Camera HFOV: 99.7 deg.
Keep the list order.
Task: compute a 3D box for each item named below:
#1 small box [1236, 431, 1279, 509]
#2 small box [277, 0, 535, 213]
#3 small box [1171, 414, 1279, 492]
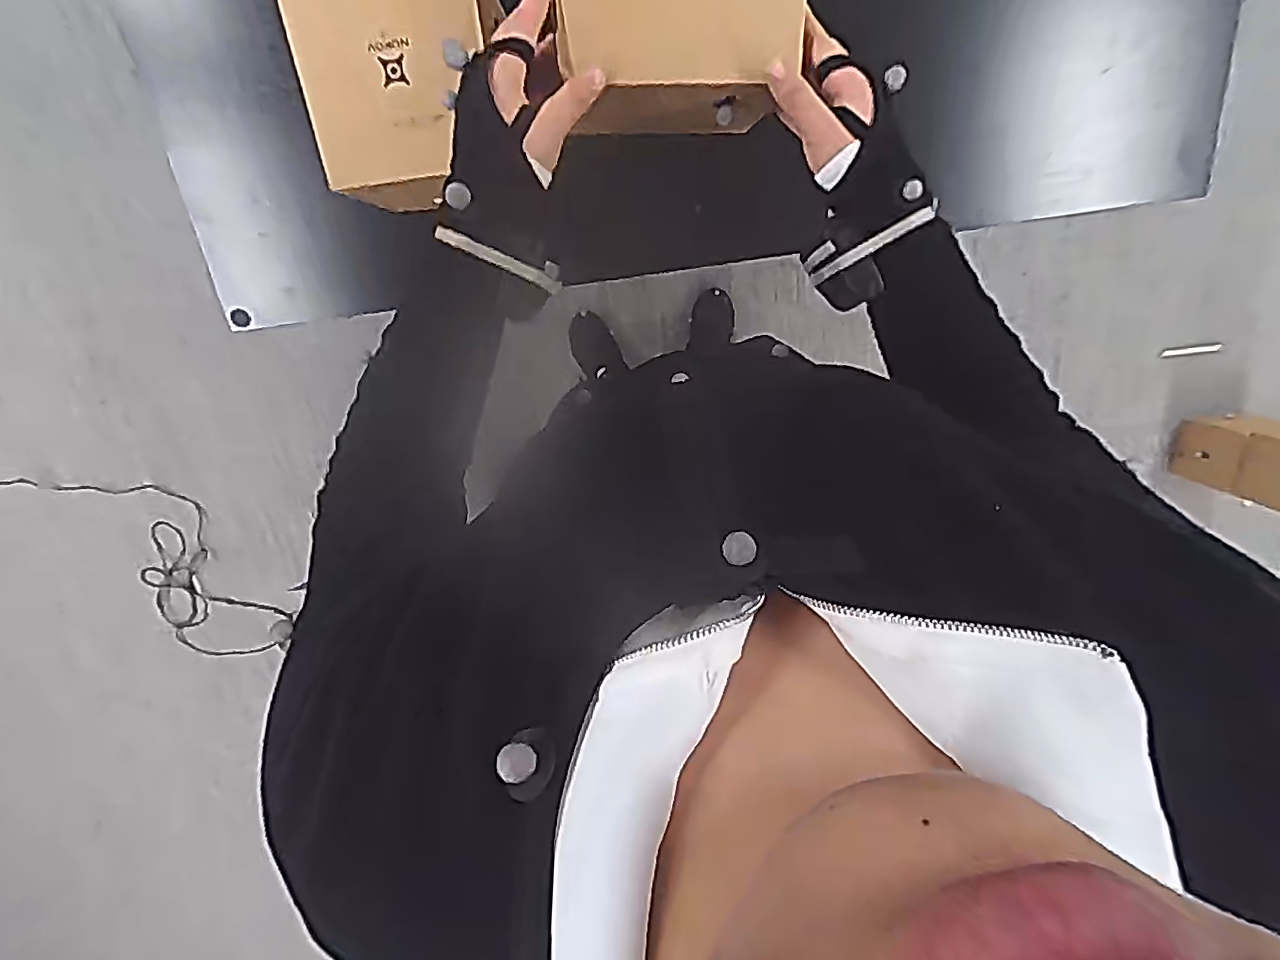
[{"bbox_3d":[1.602,-0.019,1.289,0.168,0.176,0.179,-5,110,1],"label":"small box"},{"bbox_3d":[-0.210,-0.378,0.531,0.168,0.176,0.179,-7,110,3],"label":"small box"},{"bbox_3d":[1.592,-0.076,1.445,0.179,0.176,0.168,-5,110,1],"label":"small box"}]
